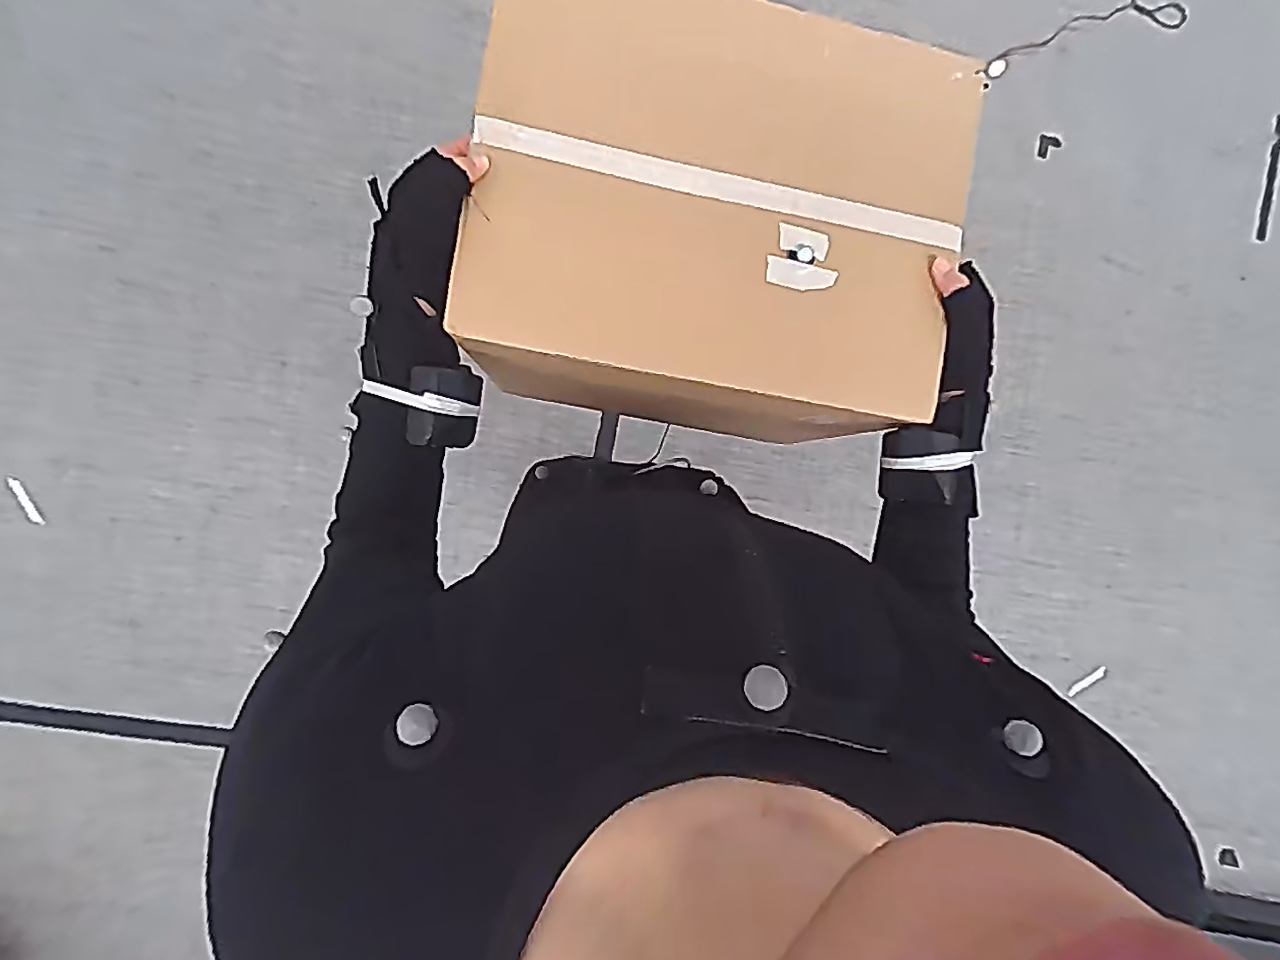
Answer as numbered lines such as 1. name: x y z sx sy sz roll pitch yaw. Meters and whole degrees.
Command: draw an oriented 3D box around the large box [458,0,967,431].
1. large box: 0.051 -0.244 0.594 0.408 0.320 0.320 9 91 -8
